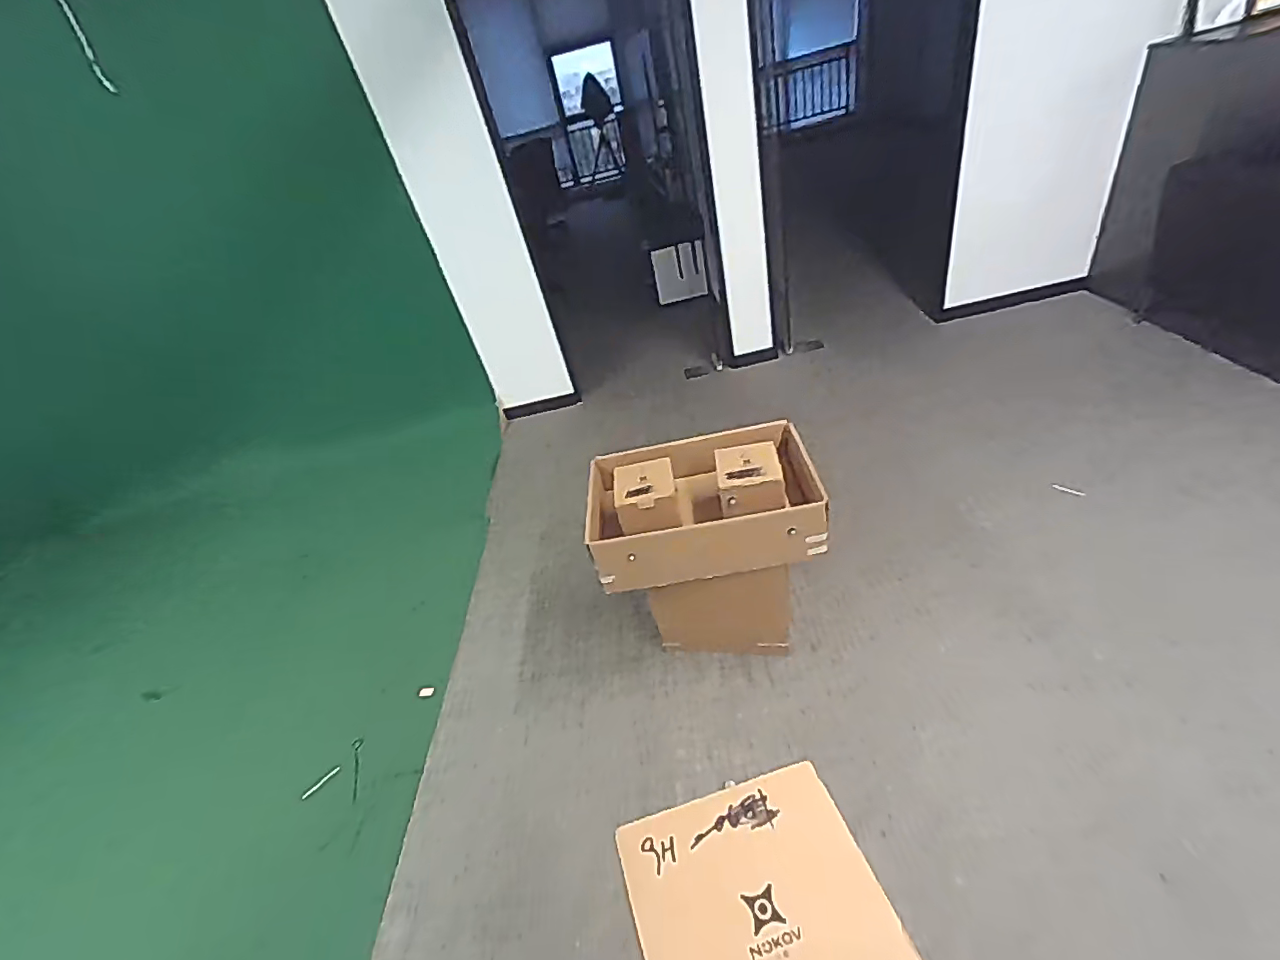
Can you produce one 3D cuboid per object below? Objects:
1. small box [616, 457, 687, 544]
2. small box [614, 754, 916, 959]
[{"bbox_3d":[0.033,0.064,1.530,0.168,0.176,0.179,-12,36,6],"label":"small box"},{"bbox_3d":[0.087,0.351,0.407,0.168,0.176,0.179,-13,38,-11],"label":"small box"}]
